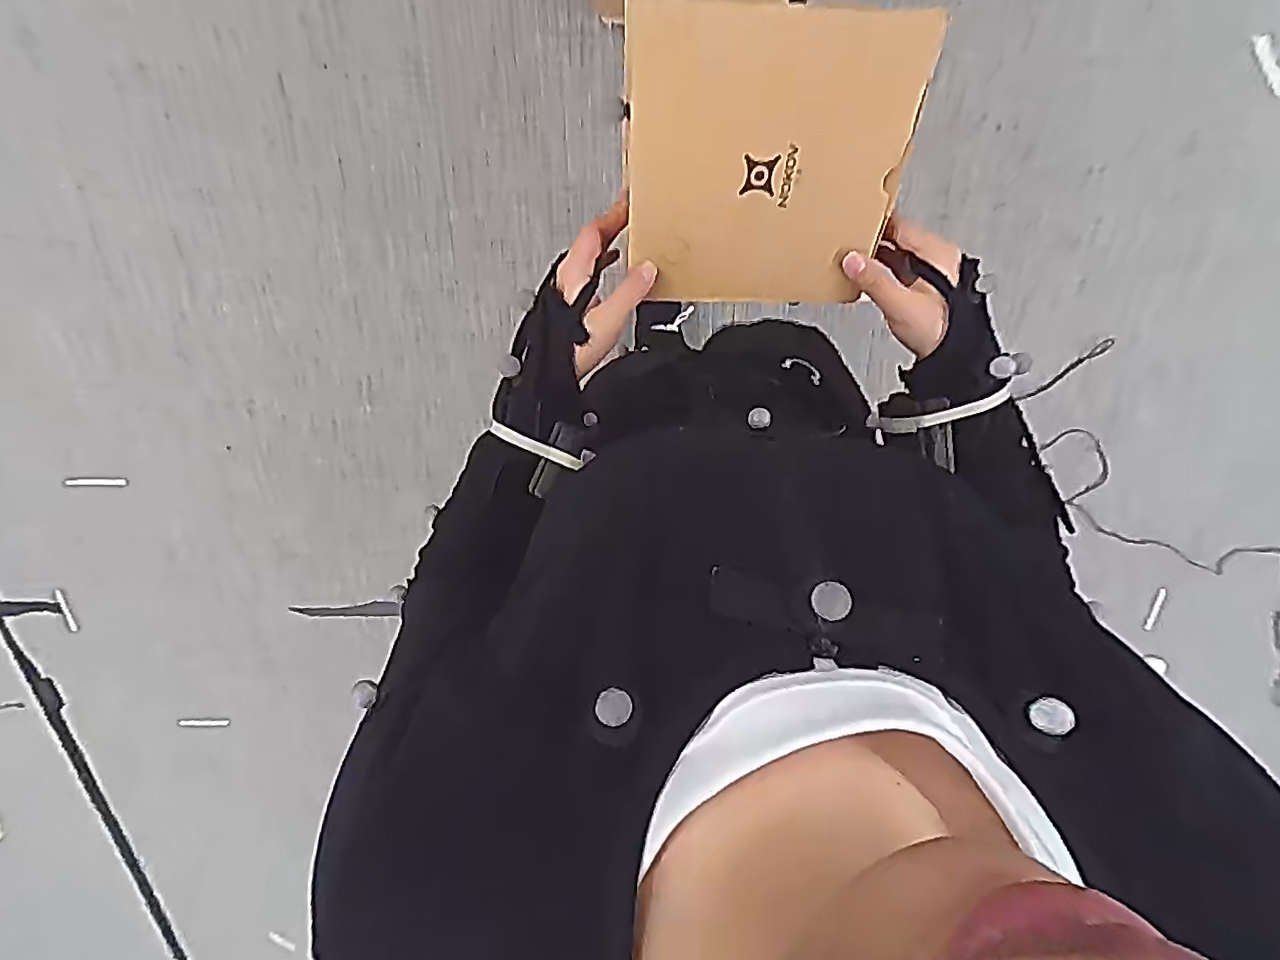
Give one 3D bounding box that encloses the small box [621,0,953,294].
[{"bbox_3d":[0.075,-0.251,0.396,0.179,0.176,0.168,-1,133,-4],"label":"small box"}]
